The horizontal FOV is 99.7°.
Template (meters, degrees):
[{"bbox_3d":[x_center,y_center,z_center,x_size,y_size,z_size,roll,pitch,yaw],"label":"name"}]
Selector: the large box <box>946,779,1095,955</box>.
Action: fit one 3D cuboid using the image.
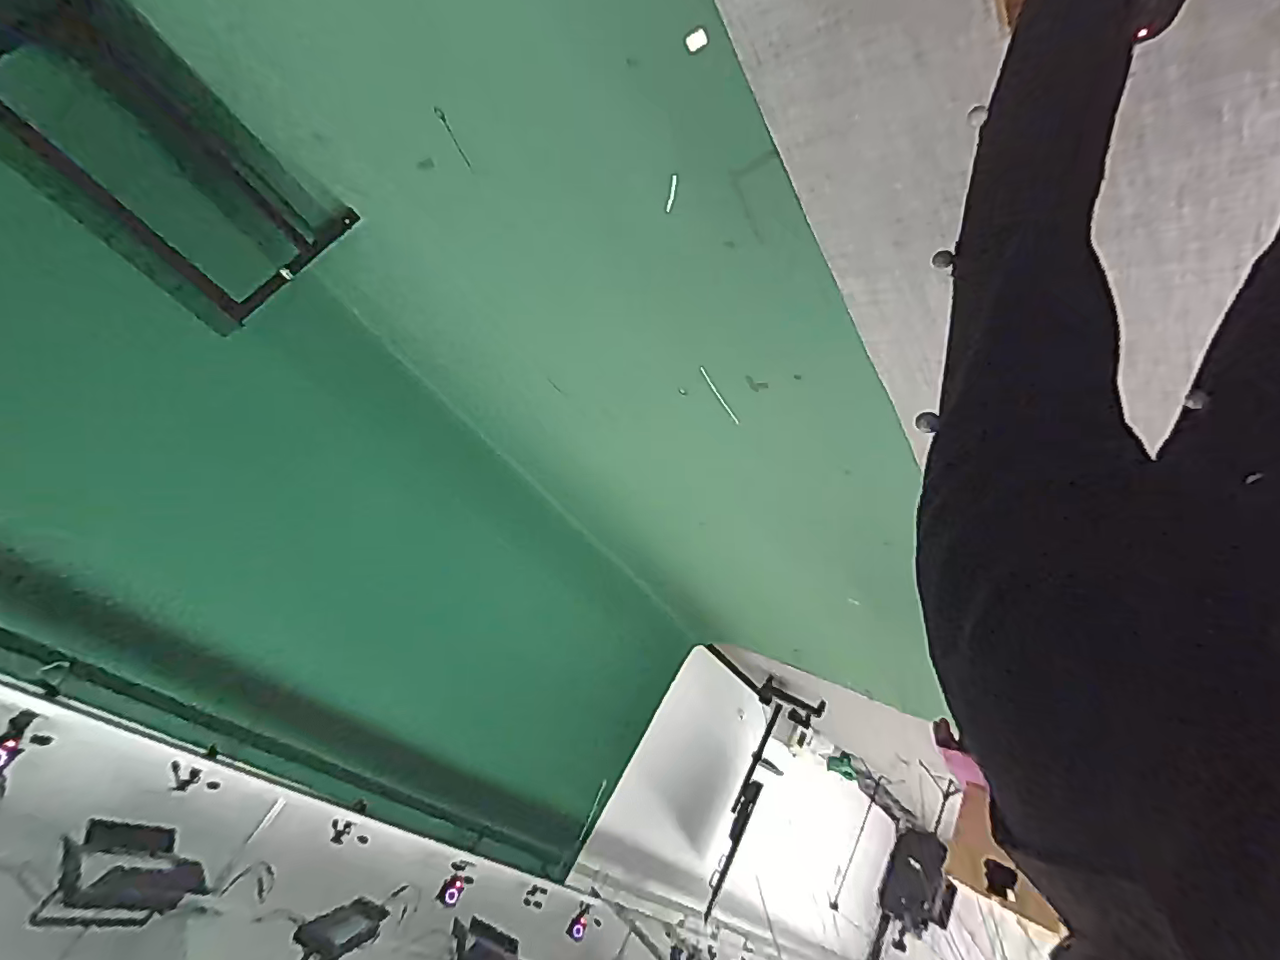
[{"bbox_3d":[1.289,1.290,1.819,0.320,0.320,0.408,4,142,48],"label":"large box"}]
